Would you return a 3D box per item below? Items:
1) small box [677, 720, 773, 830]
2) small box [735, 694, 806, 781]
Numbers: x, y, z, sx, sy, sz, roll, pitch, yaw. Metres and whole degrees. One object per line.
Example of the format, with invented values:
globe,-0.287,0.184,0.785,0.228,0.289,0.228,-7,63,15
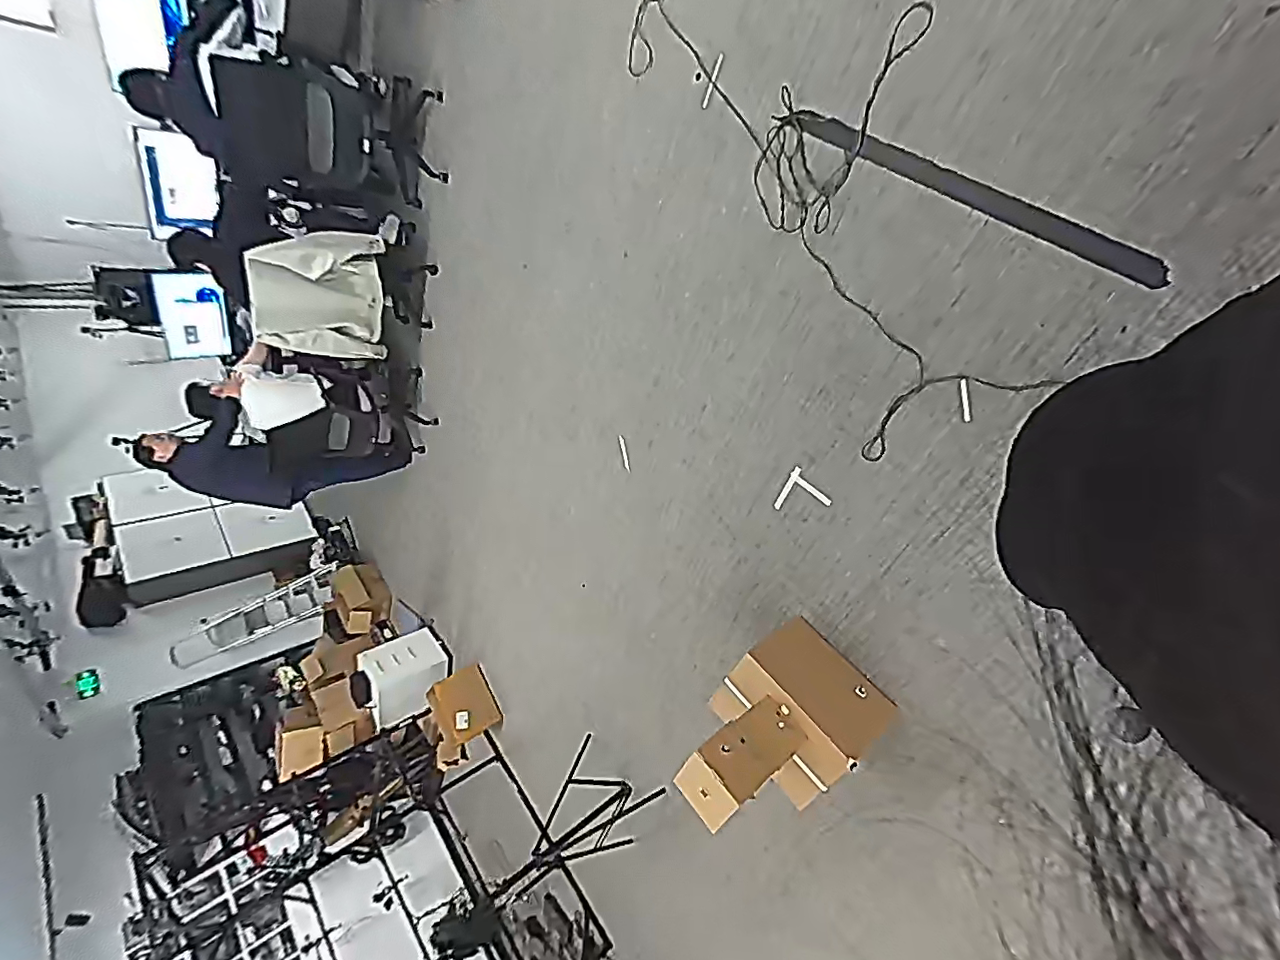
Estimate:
small box,0.234,0.791,1.464,0.168,0.176,0.179,44,131,31
small box,0.351,0.763,1.573,0.168,0.176,0.179,44,130,29
